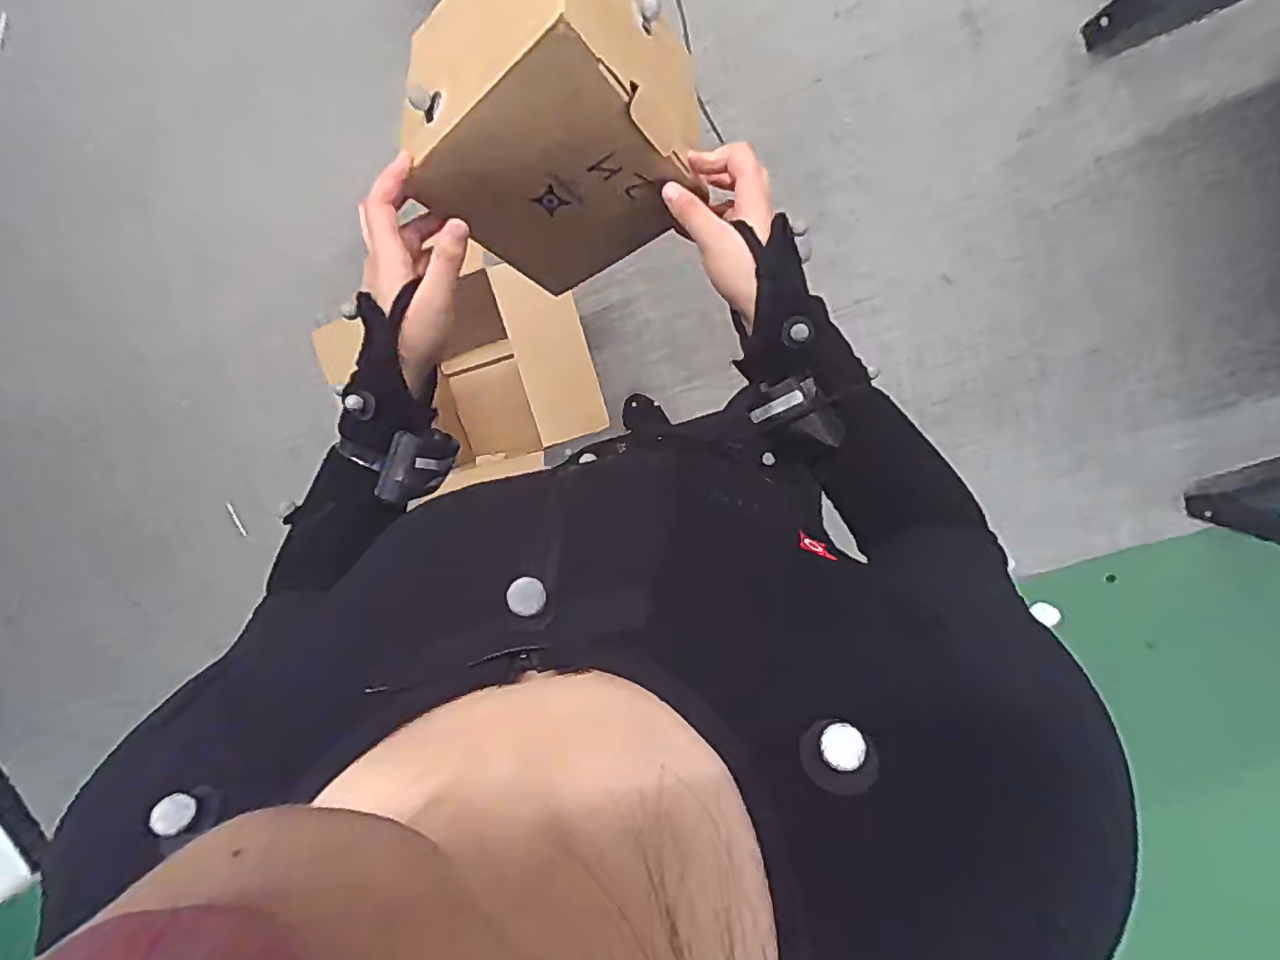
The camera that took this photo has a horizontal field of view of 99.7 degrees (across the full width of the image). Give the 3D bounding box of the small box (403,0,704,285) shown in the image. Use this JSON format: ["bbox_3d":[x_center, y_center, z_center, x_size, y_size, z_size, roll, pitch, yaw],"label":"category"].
[{"bbox_3d":[-0.066,-0.306,0.446,0.179,0.168,0.176,-18,66,34],"label":"small box"}]
